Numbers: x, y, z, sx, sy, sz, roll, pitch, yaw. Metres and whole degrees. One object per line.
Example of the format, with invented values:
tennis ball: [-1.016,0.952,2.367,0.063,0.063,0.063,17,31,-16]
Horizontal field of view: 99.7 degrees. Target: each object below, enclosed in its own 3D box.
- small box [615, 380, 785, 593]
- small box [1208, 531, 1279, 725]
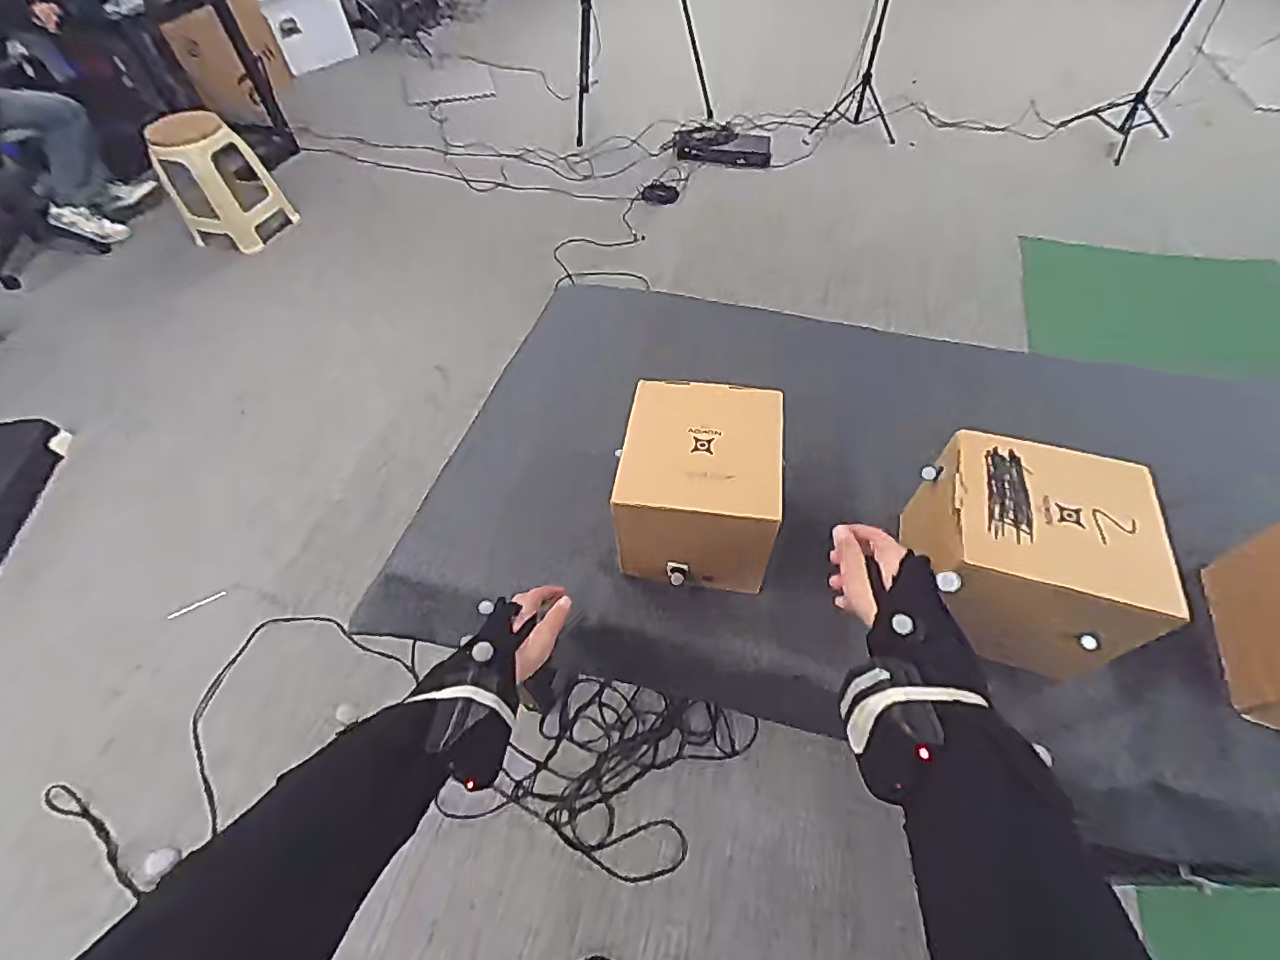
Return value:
small box: [0.071,0.009,0.627,0.168,0.176,0.179,5,54,7]
small box: [0.697,0.139,0.502,0.168,0.176,0.179,15,56,14]
